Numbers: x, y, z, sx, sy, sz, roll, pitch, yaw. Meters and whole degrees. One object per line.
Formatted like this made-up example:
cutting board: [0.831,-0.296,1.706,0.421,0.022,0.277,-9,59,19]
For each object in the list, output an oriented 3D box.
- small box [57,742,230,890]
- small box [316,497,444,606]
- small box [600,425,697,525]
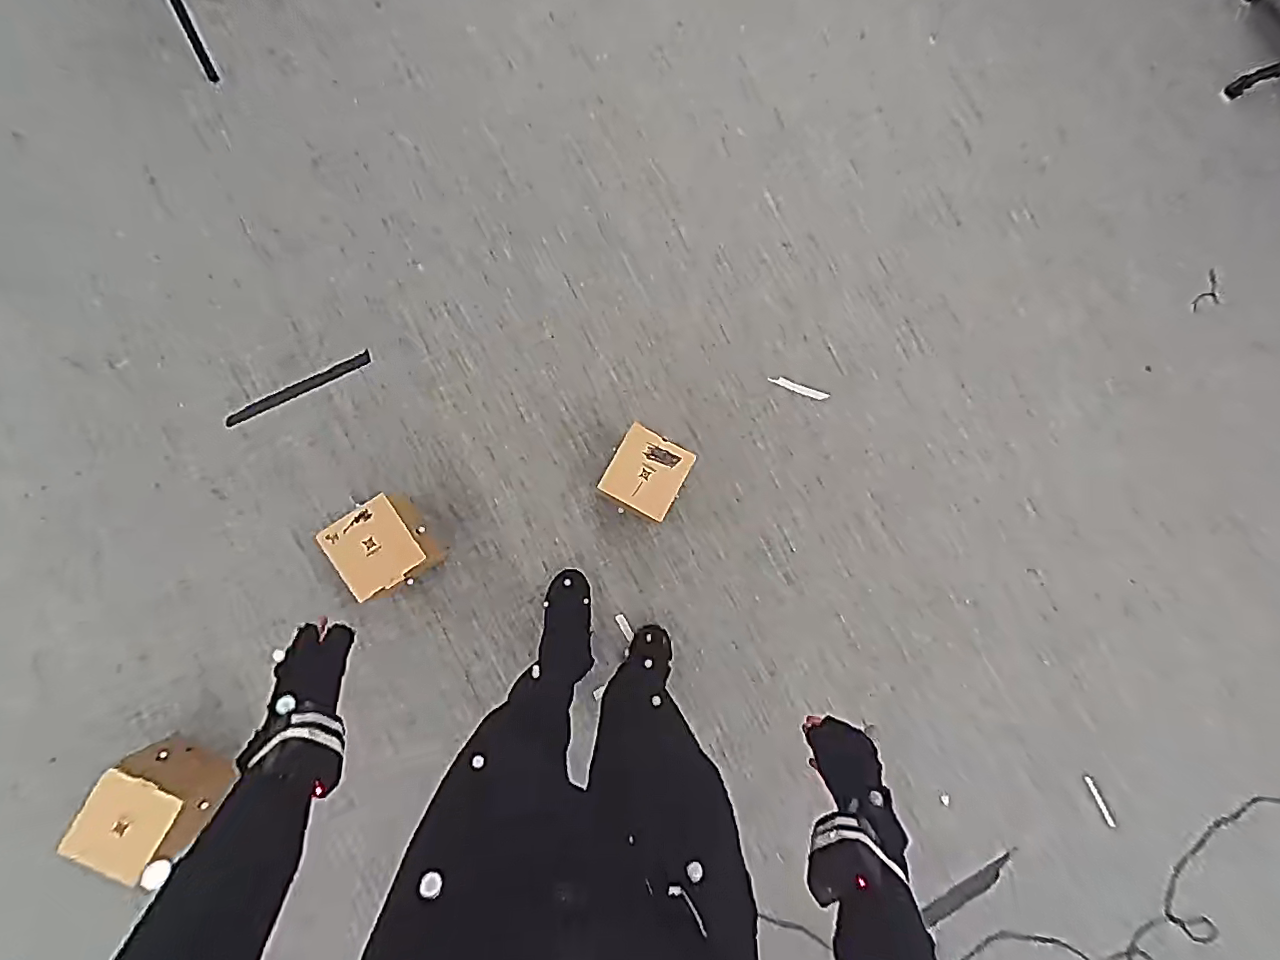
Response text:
small box: [-1.002,0.678,1.115,0.168,0.176,0.179,27,83,-1]
small box: [-0.569,0.154,1.212,0.168,0.176,0.179,-34,89,-8]
small box: [0.011,-0.006,1.287,0.168,0.176,0.179,29,83,-2]
